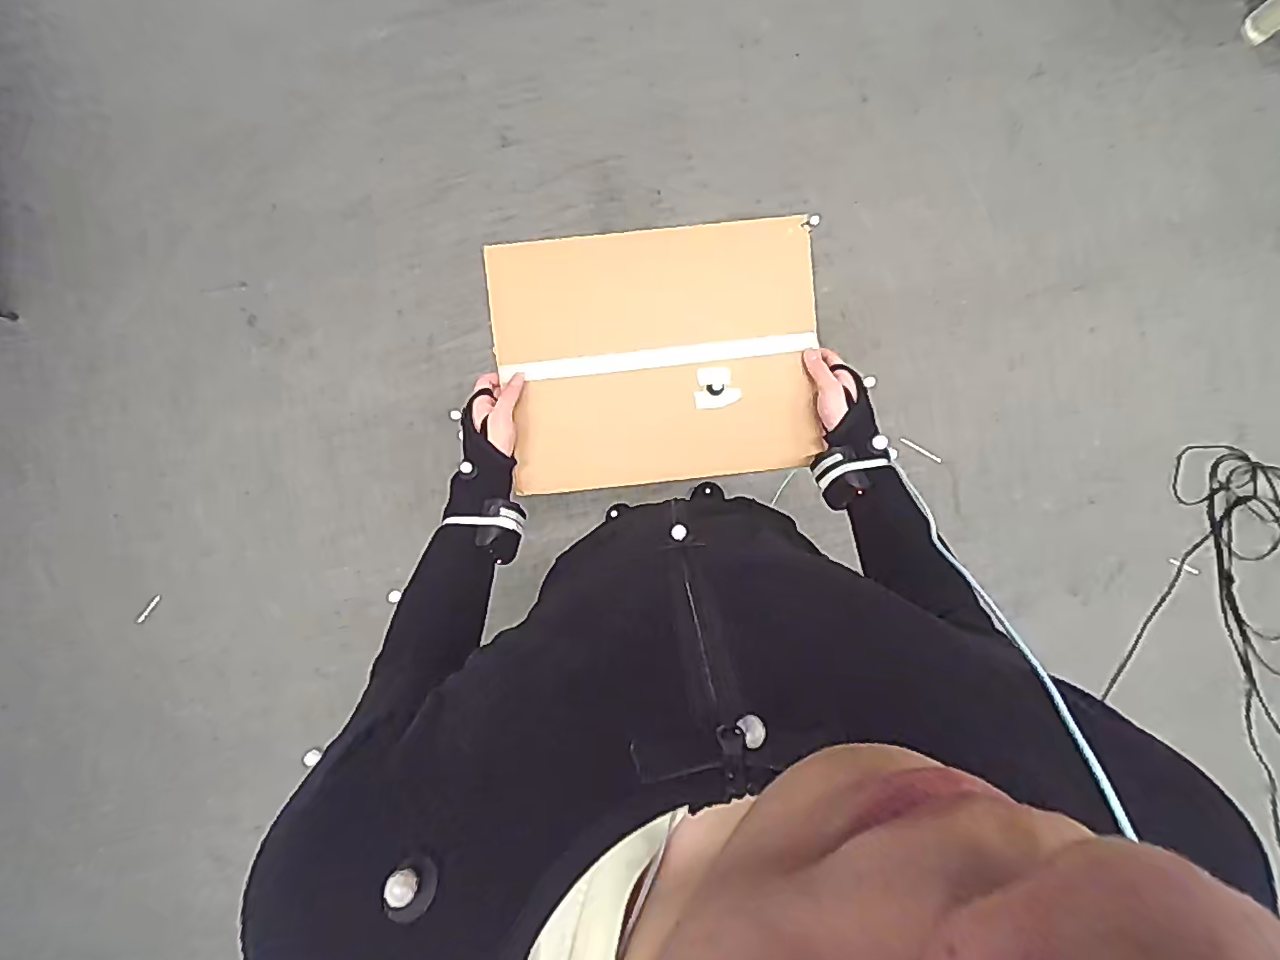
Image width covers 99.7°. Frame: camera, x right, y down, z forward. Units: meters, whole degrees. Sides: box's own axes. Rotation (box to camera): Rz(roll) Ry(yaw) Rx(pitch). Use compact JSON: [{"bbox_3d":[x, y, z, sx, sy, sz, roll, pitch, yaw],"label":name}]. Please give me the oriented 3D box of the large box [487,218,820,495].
[{"bbox_3d":[0.016,-0.166,0.840,0.408,0.320,0.320,-7,95,-1],"label":"large box"}]
